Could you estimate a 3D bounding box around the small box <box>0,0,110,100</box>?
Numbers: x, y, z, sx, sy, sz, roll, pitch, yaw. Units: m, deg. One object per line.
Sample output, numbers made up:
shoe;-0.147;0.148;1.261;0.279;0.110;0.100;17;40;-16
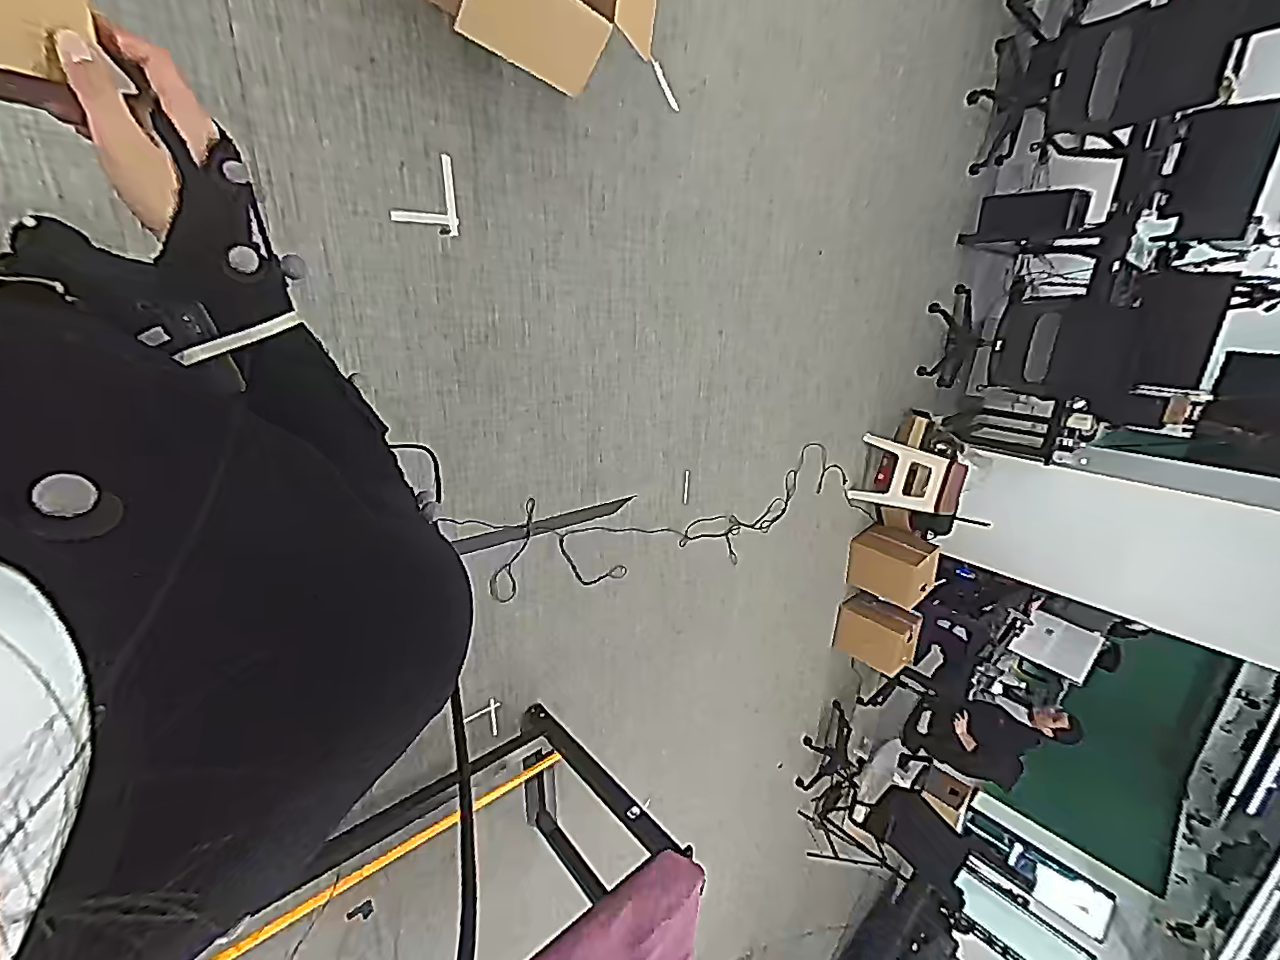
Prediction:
small box;-0.397;-0.302;0.256;0.179;0.176;0.168;-17;122;-46
